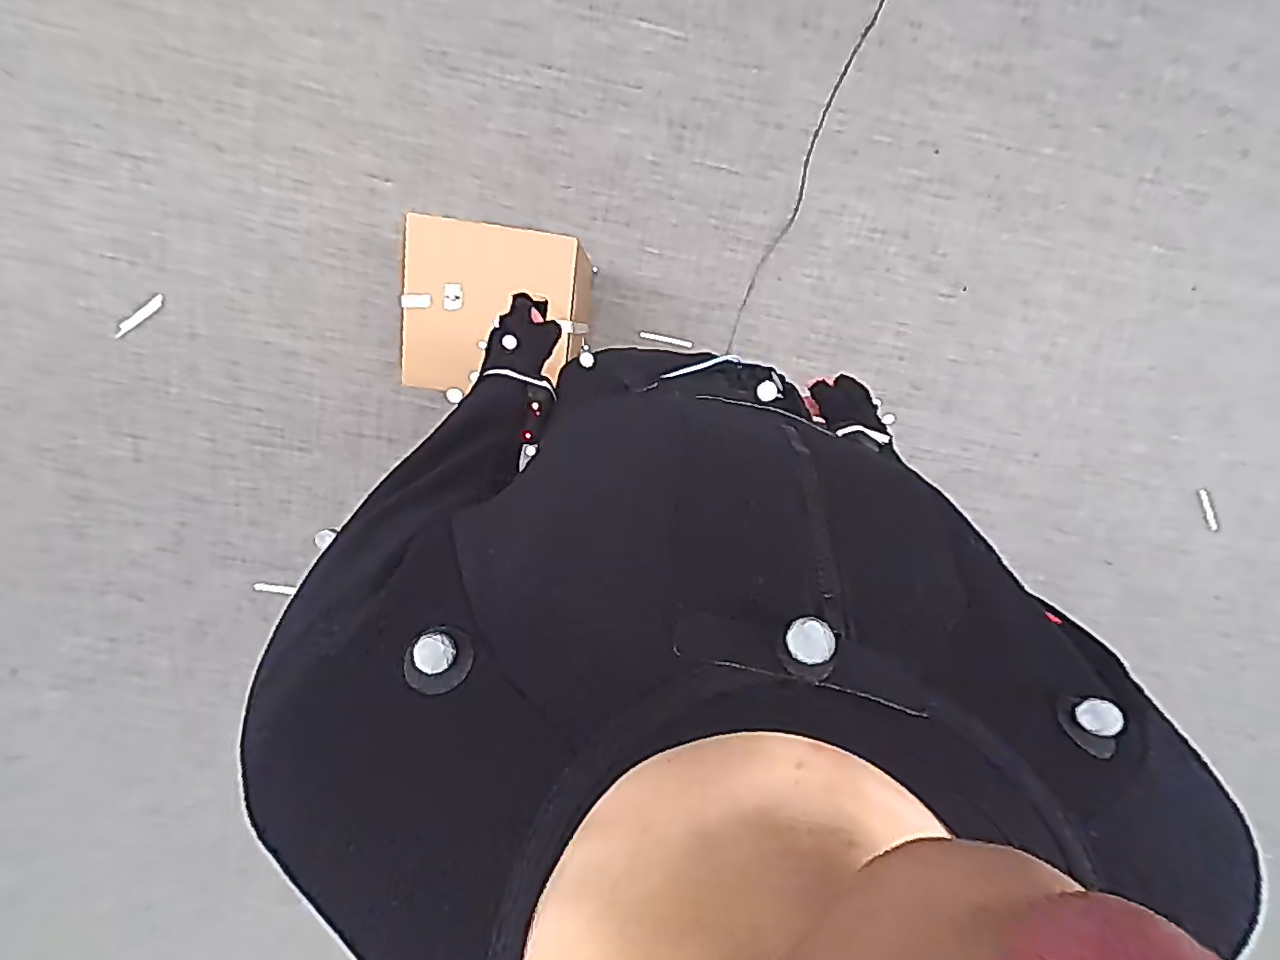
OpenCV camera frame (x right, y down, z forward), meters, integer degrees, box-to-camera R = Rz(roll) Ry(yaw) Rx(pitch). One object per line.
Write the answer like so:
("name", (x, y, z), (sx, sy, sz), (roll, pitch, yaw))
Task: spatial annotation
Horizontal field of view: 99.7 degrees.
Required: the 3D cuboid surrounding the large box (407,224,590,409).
("large box", (-0.290, -0.358, 1.205), (0.320, 0.408, 0.320), (8, 105, -4))
